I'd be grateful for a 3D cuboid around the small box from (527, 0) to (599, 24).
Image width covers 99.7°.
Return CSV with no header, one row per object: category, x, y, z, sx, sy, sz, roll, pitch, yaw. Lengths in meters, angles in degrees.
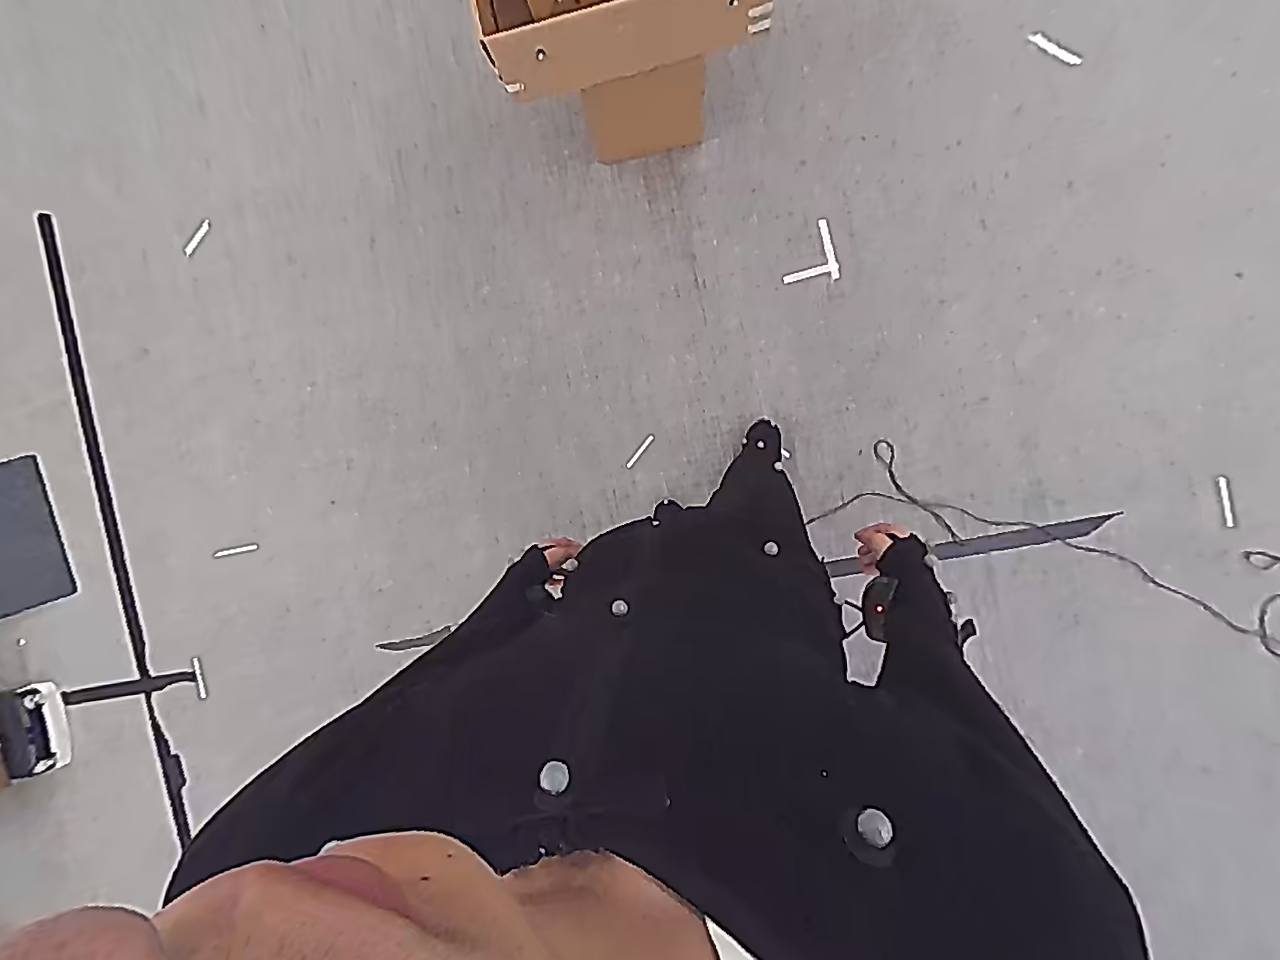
small box,-0.187,-1.108,1.109,0.168,0.176,0.179,-19,90,6
